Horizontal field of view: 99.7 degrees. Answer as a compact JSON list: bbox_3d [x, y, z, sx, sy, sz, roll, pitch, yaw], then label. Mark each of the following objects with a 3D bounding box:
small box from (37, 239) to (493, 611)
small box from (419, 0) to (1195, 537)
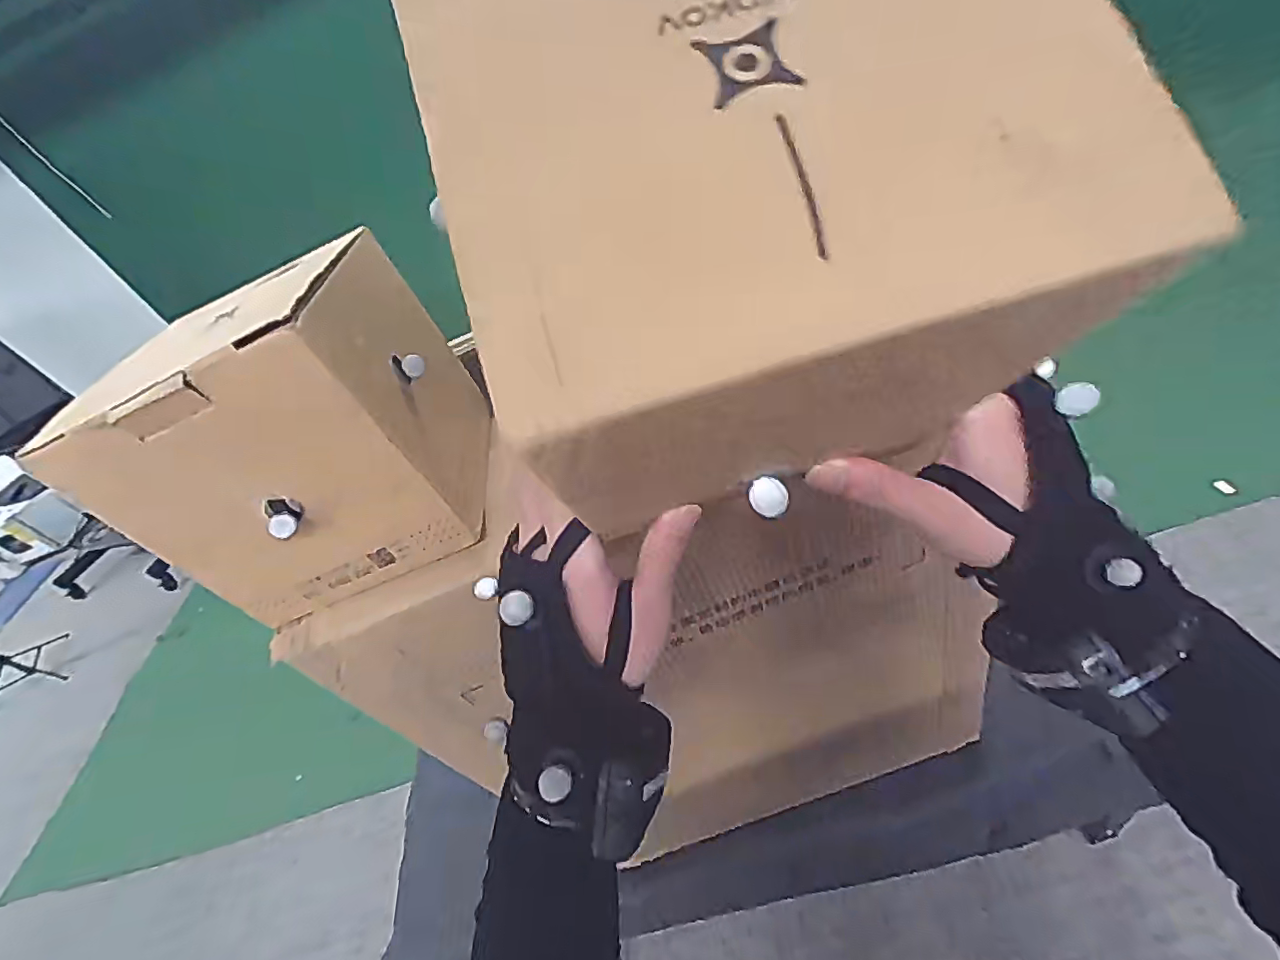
[{"bbox_3d":[-0.218,-0.031,0.379,0.168,0.176,0.179,-23,40,6],"label":"small box"},{"bbox_3d":[0.032,-0.089,0.222,0.168,0.176,0.179,-17,76,0],"label":"small box"}]
